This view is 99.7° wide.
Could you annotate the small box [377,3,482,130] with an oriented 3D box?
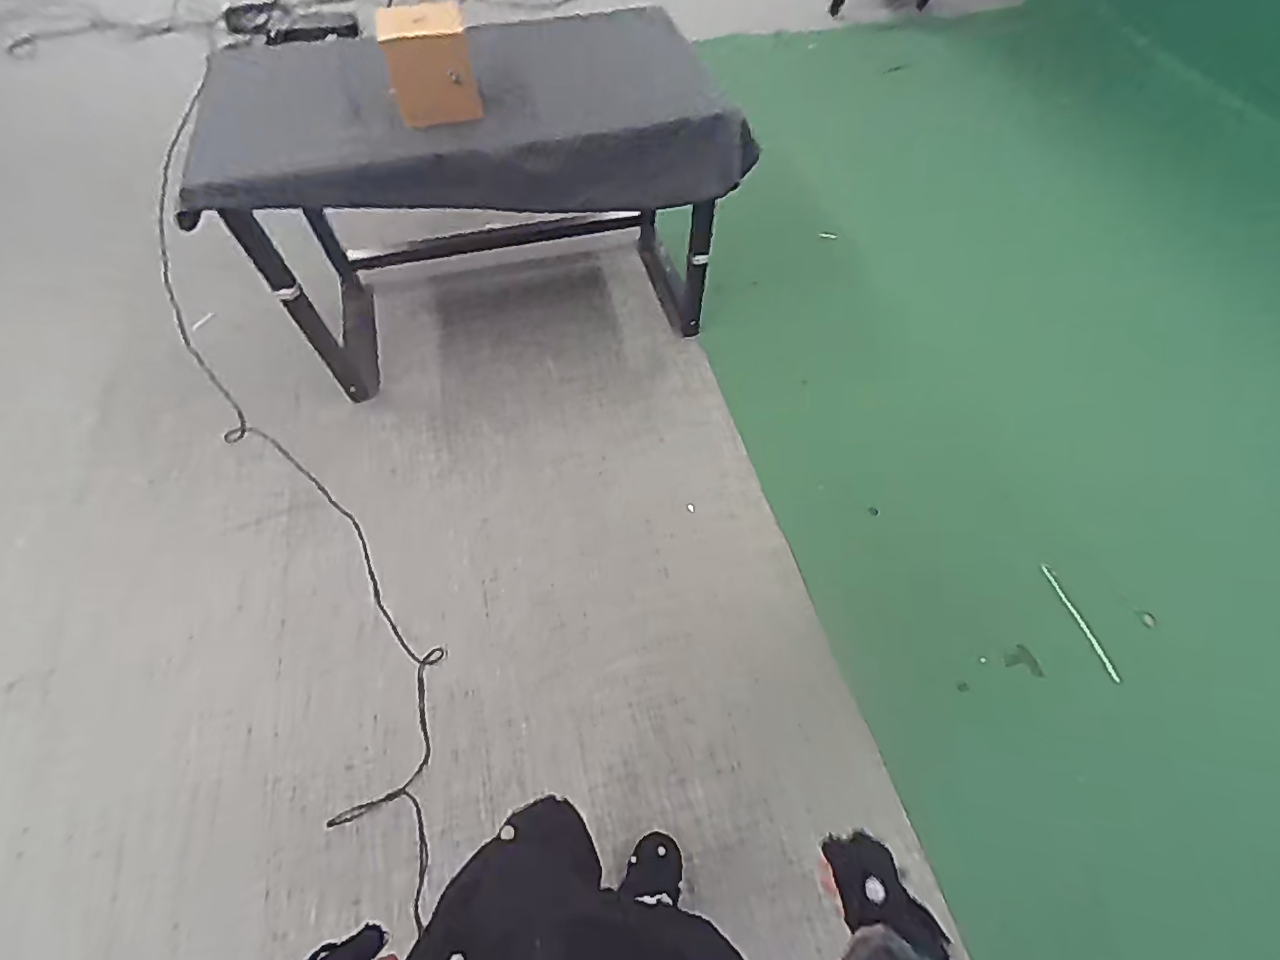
[{"bbox_3d":[-0.460,-0.916,1.204,0.179,0.176,0.168,-15,60,-8],"label":"small box"}]
